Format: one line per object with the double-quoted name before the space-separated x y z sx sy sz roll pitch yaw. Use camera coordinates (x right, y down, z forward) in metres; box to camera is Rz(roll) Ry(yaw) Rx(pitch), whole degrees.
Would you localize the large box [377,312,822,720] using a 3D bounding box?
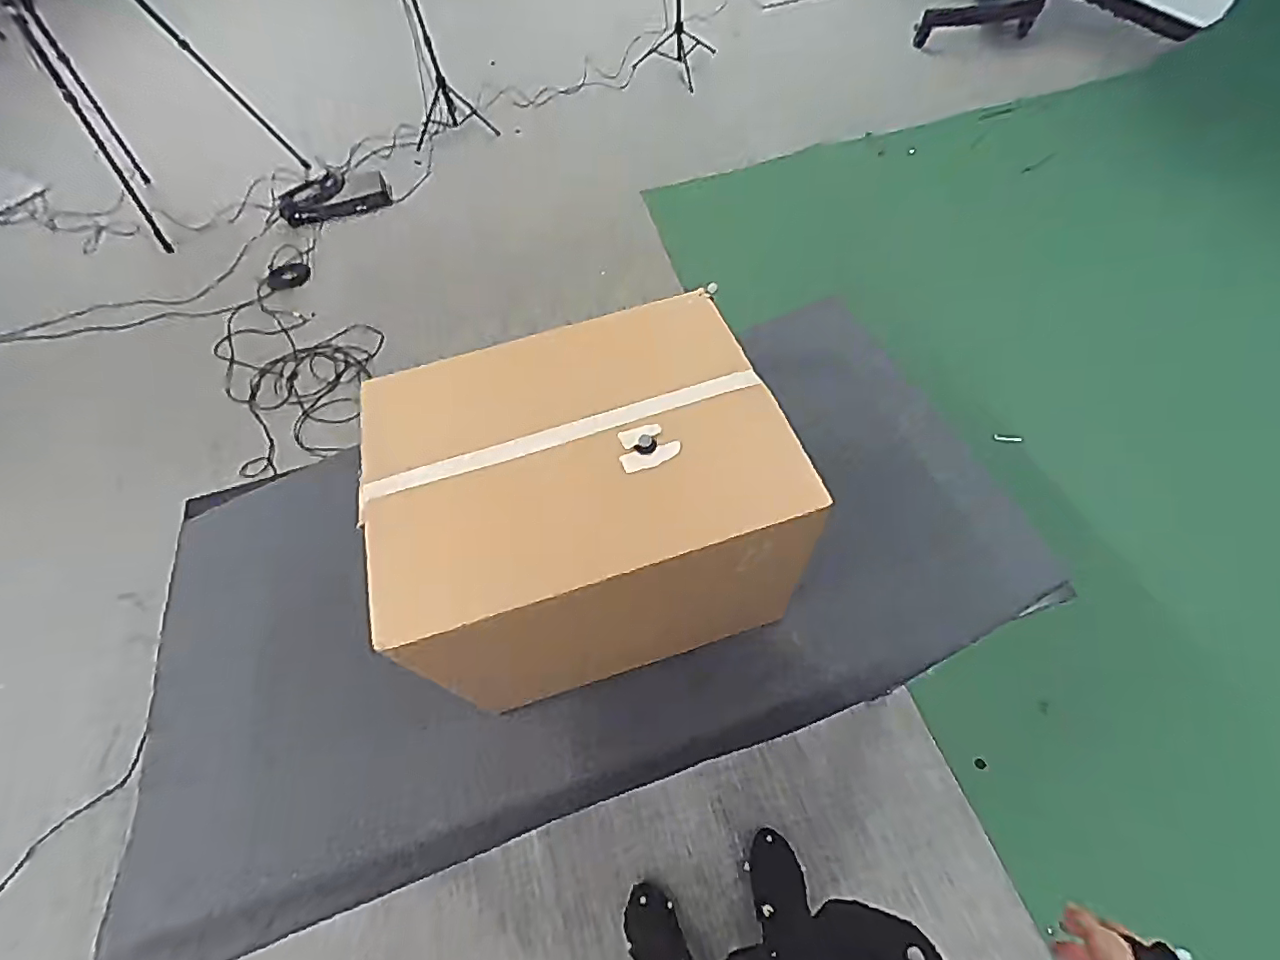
"large box" -0.055 0.054 0.674 0.408 0.320 0.320 -17 58 -6
